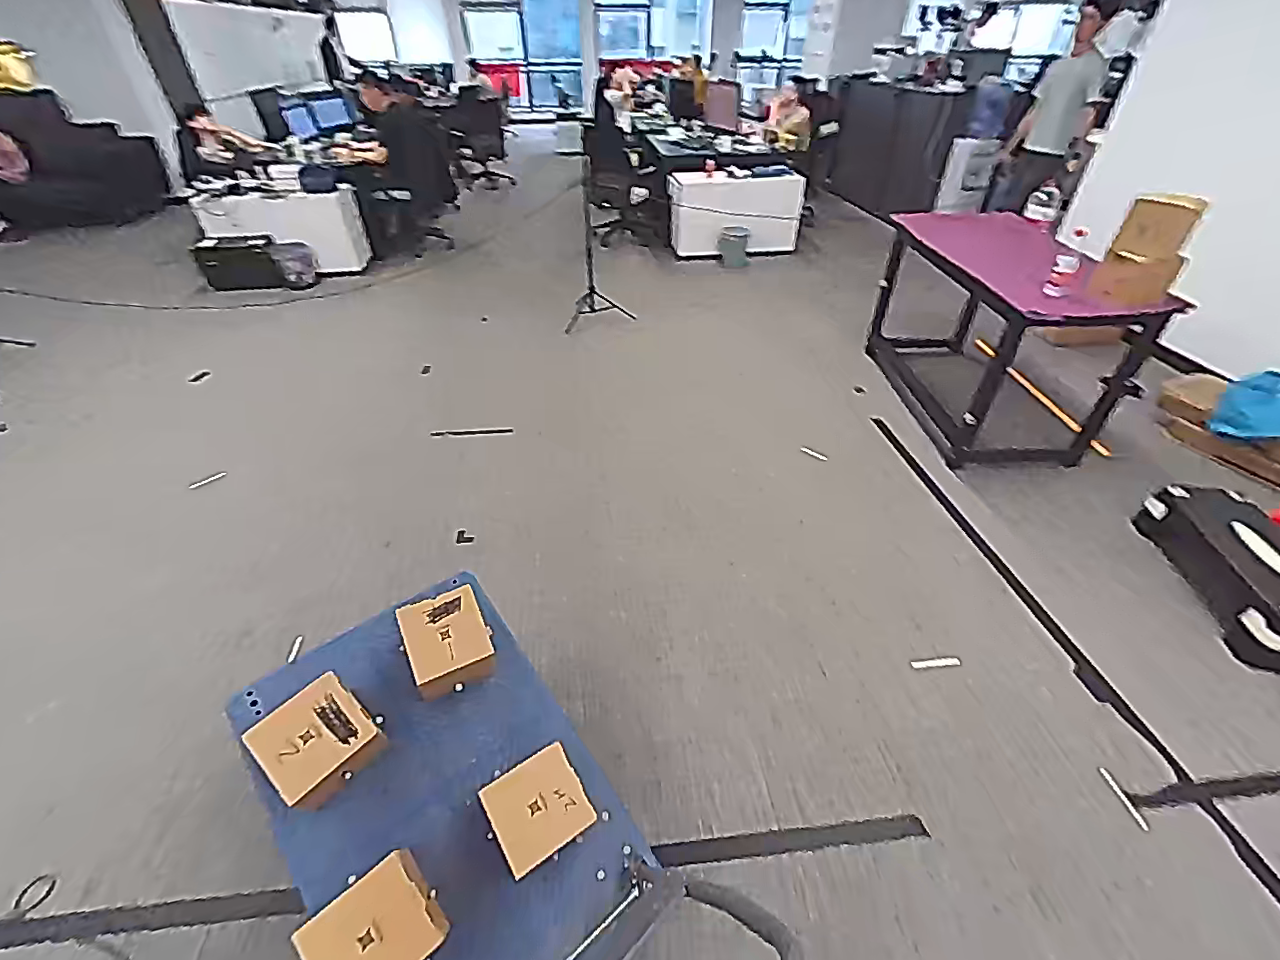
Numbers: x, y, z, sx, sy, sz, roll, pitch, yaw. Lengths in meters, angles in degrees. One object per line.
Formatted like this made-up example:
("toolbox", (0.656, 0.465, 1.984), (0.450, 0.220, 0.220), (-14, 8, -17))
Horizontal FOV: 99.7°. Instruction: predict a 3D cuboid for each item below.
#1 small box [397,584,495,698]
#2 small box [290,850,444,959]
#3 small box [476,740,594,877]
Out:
("small box", (-0.441, 0.369, 1.234), (0.168, 0.176, 0.179), (-17, 64, -25))
("small box", (-0.463, 0.789, 0.944), (0.179, 0.176, 0.168), (-31, 69, -32))
("small box", (-0.214, 0.664, 1.095), (0.179, 0.176, 0.168), (-23, 66, -27))
